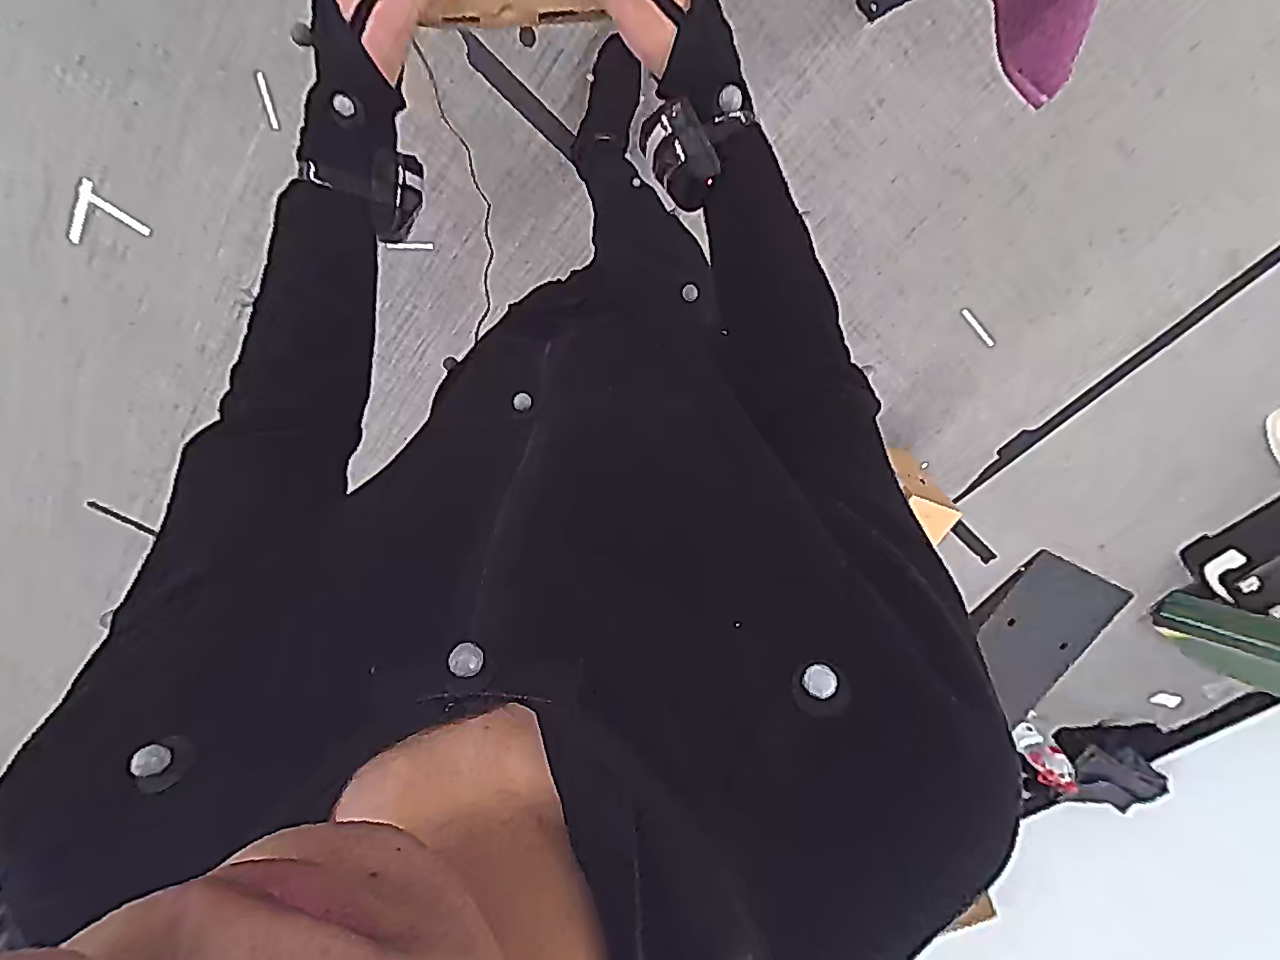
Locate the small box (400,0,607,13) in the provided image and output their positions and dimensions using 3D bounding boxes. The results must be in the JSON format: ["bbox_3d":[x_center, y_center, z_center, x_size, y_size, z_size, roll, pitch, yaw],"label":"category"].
[{"bbox_3d":[-0.105,-0.476,0.411,0.168,0.176,0.179,-3,131,0],"label":"small box"}]
